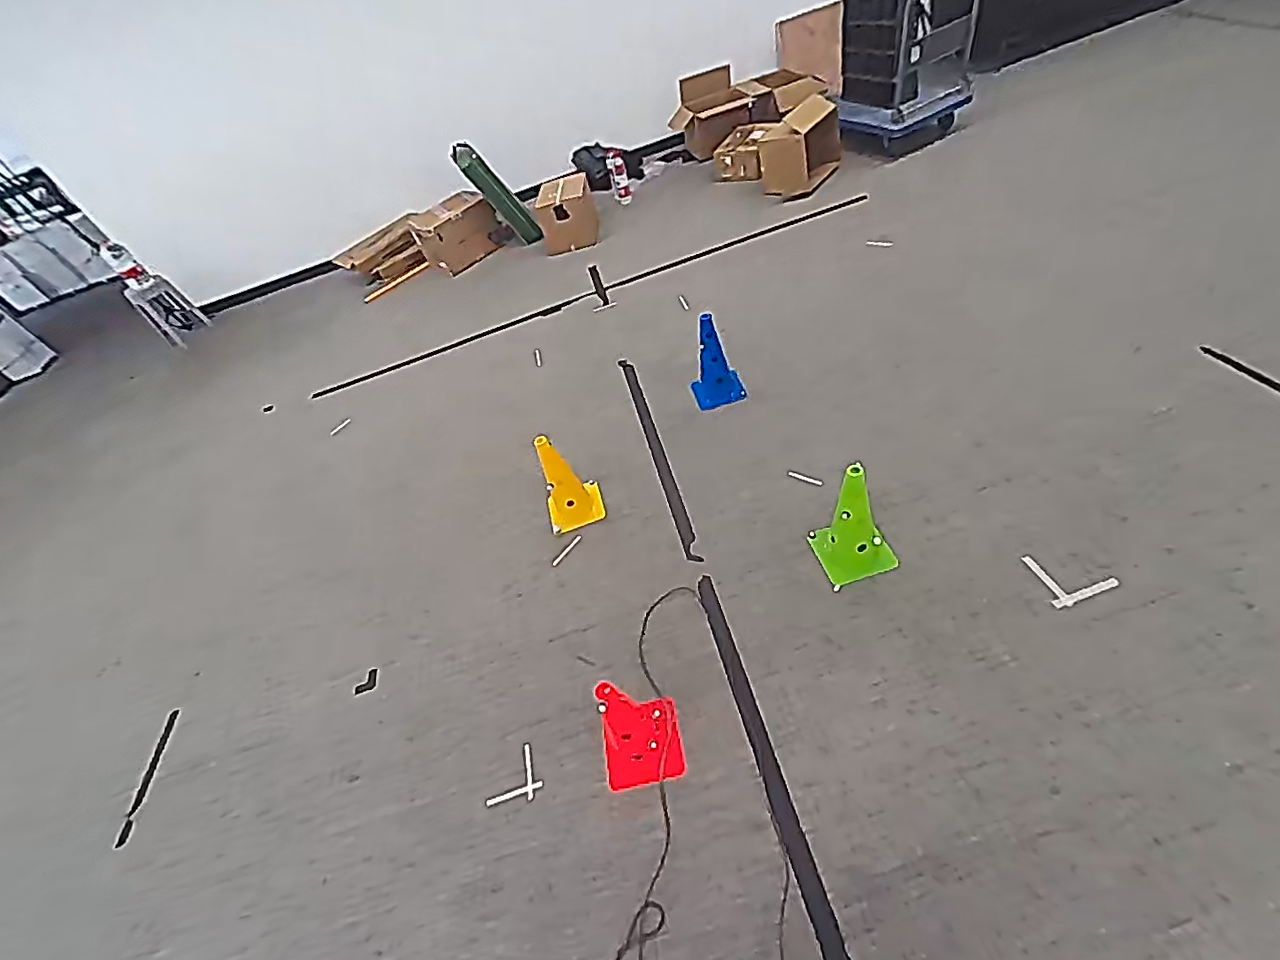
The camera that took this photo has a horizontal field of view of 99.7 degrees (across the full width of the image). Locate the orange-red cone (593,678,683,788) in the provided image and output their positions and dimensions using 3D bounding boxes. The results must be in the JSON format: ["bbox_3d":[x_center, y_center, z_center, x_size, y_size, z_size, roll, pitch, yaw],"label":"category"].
[{"bbox_3d":[-0.039,0.561,1.278,0.199,0.360,0.198,-16,44,6],"label":"orange-red cone"}]

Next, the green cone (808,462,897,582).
[{"bbox_3d":[0.590,0.090,1.491,0.202,0.368,0.200,-18,46,1],"label":"green cone"}]

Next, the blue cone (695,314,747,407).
[{"bbox_3d":[0.295,-0.486,2.144,0.192,0.380,0.193,-15,46,4],"label":"blue cone"}]
